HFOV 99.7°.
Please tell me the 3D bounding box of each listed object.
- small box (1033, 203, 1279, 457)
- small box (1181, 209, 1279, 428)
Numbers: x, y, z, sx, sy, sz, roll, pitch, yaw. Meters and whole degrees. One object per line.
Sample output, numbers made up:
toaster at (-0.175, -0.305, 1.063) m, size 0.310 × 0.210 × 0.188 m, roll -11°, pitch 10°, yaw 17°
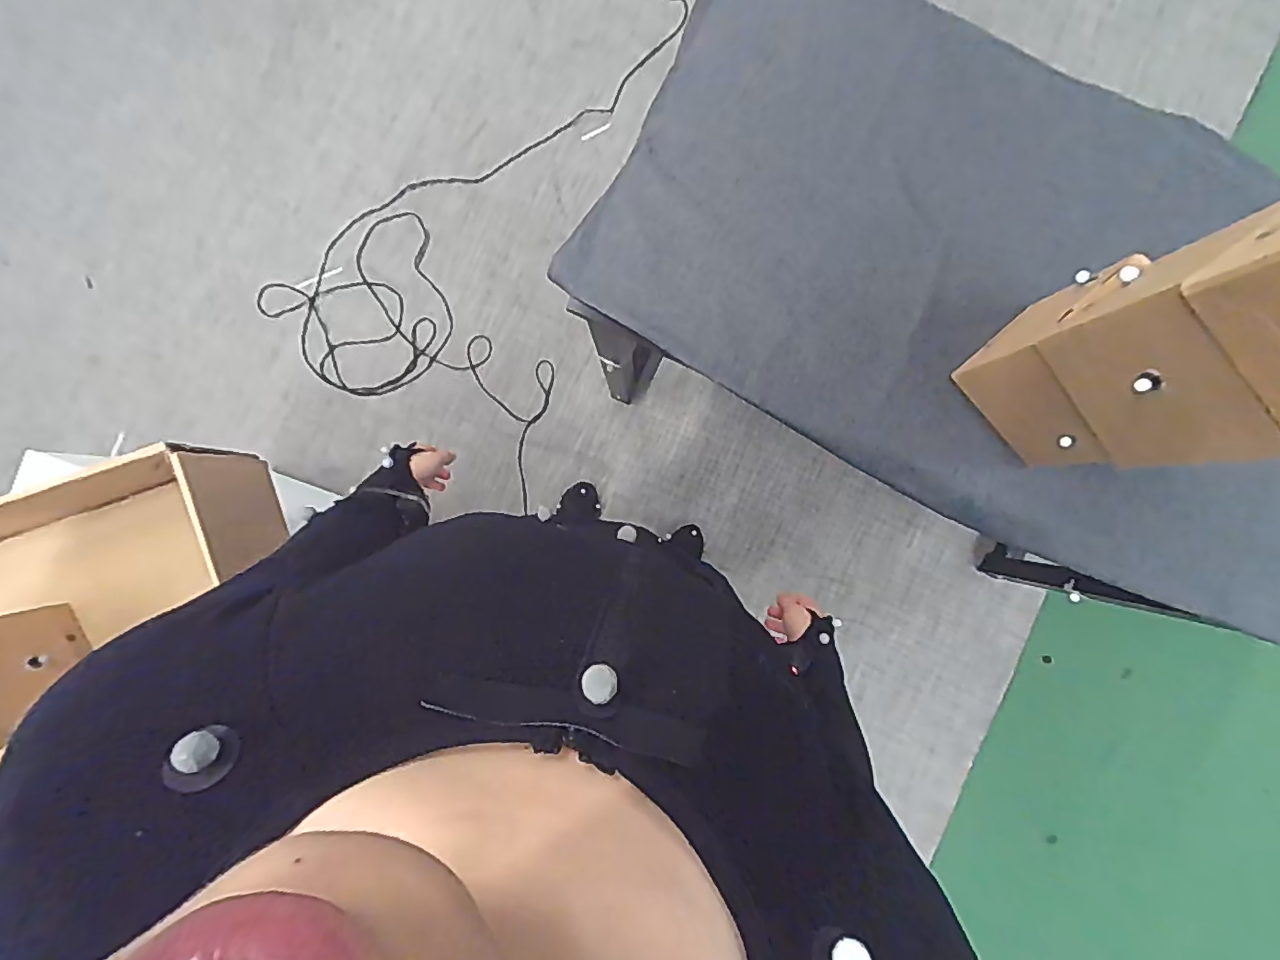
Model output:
small box at (0.552, -0.133, 0.530) m, size 0.168 × 0.176 × 0.179 m, roll -33°, pitch 88°, yaw -2°
small box at (0.550, -0.142, 0.367) m, size 0.168 × 0.176 × 0.179 m, roll -36°, pitch 89°, yaw -2°
